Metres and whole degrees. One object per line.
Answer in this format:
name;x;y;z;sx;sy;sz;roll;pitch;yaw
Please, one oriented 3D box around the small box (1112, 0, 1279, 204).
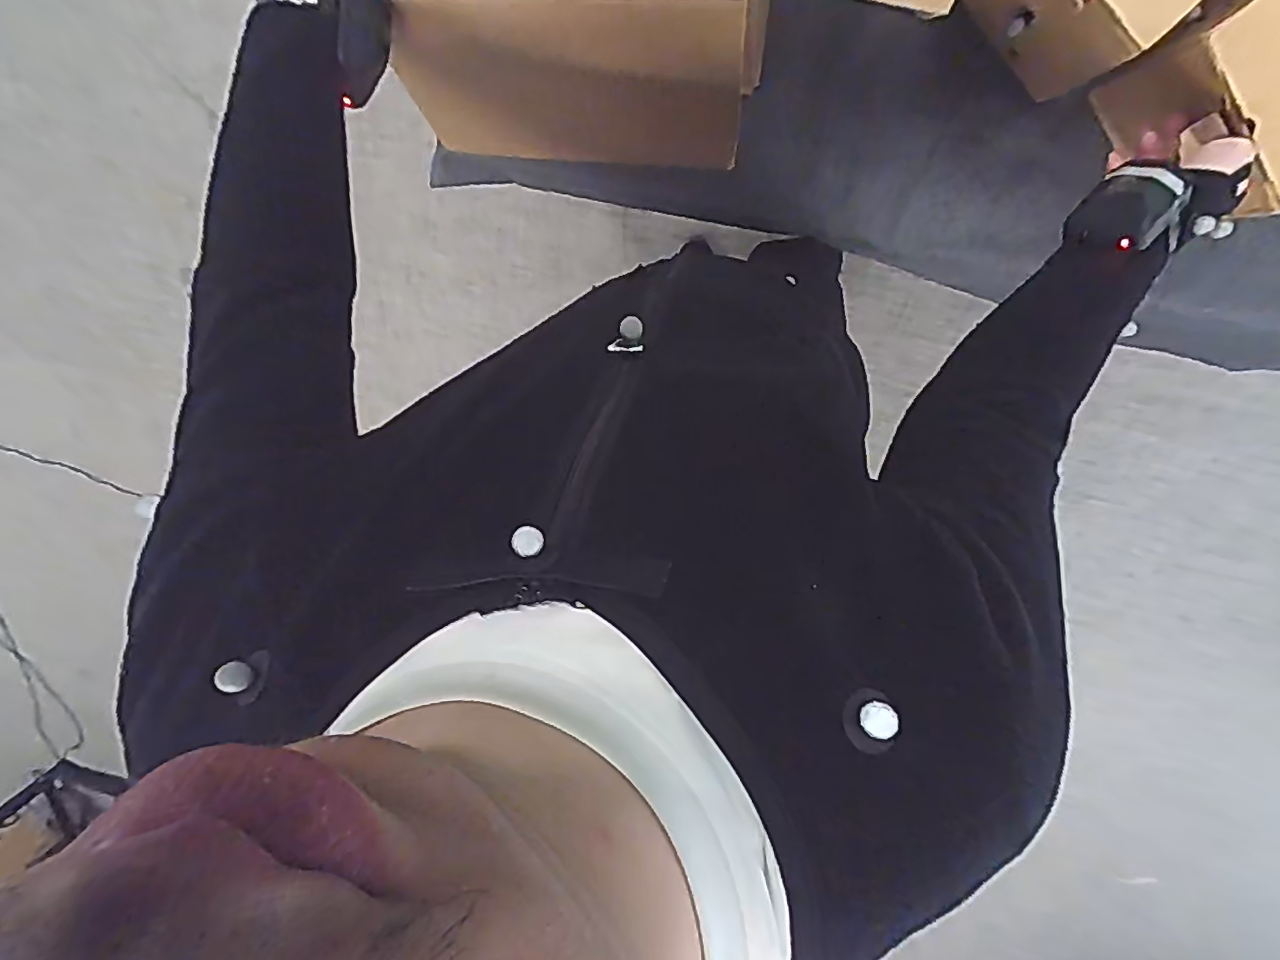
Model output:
small box;0.573;-0.370;0.475;0.179;0.176;0.168;-36;103;23
